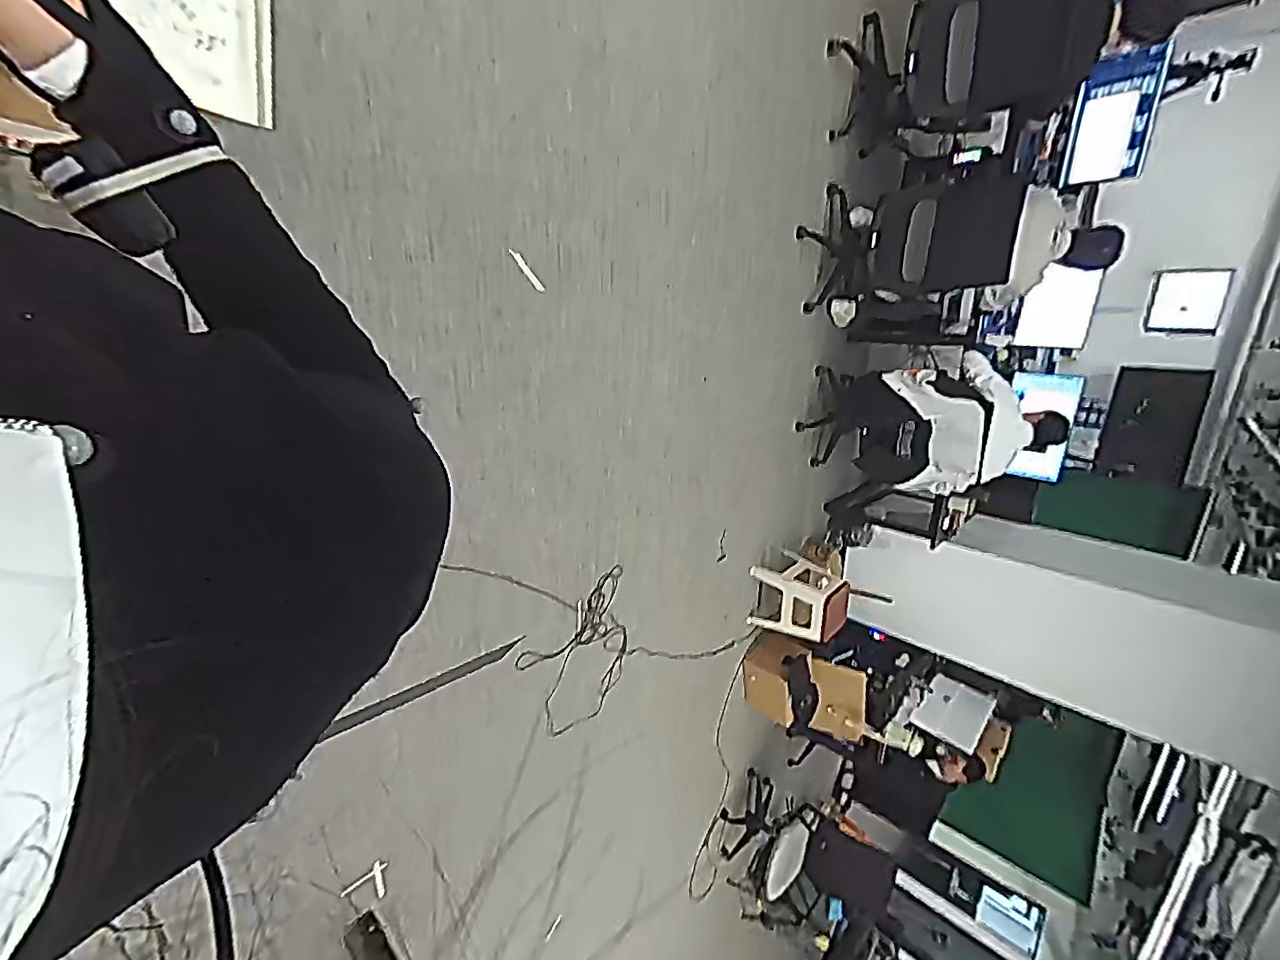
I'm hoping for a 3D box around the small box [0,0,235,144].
[{"bbox_3d":[-0.511,-0.454,0.516,0.168,0.176,0.179,-7,109,-49],"label":"small box"}]
